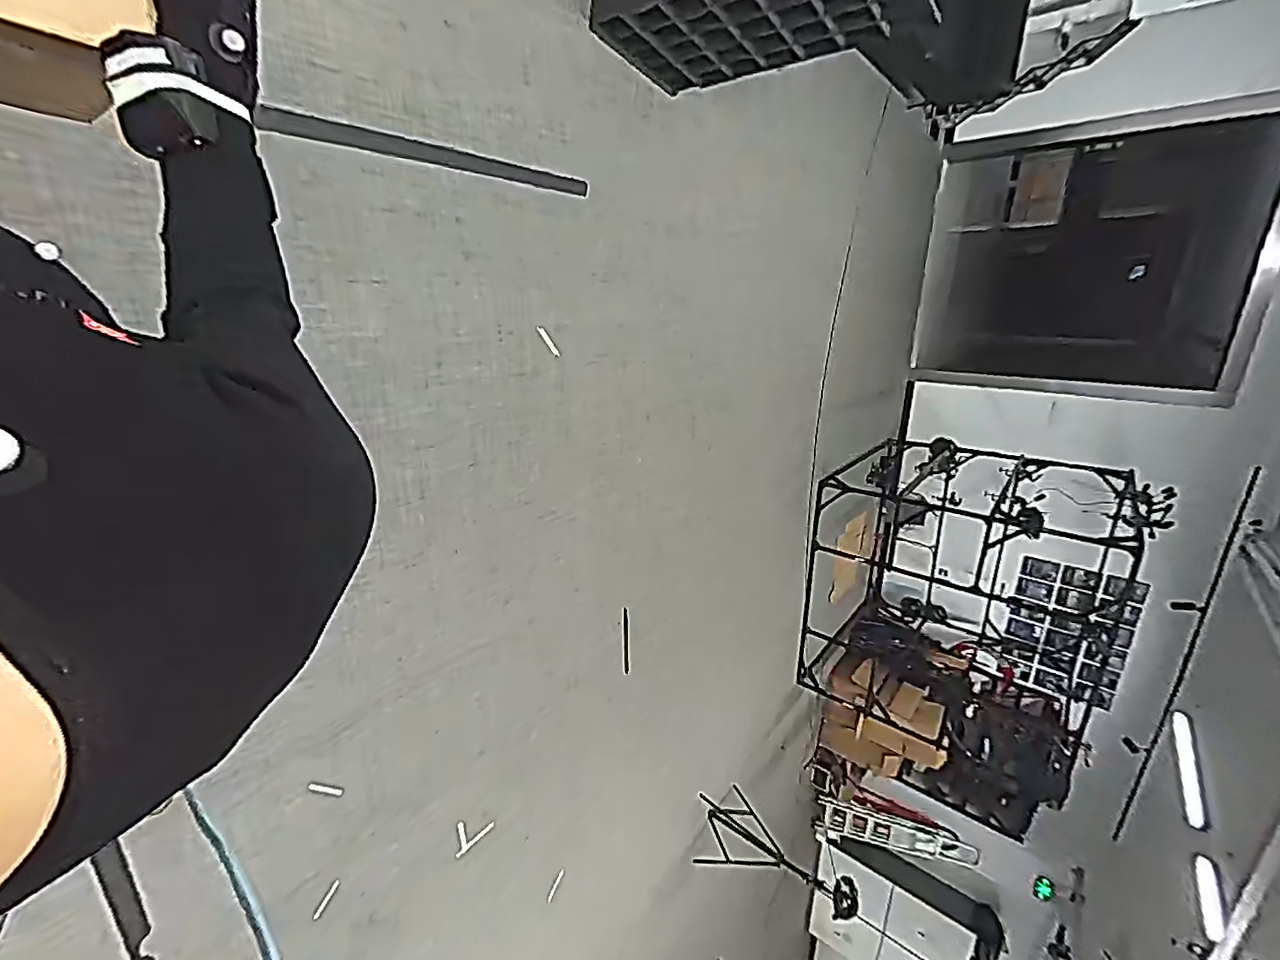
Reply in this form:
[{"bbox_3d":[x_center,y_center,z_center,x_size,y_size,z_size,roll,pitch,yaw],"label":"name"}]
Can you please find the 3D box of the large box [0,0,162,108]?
[{"bbox_3d":[-0.582,-0.455,0.289,0.408,0.320,0.320,-17,119,-50],"label":"large box"}]
